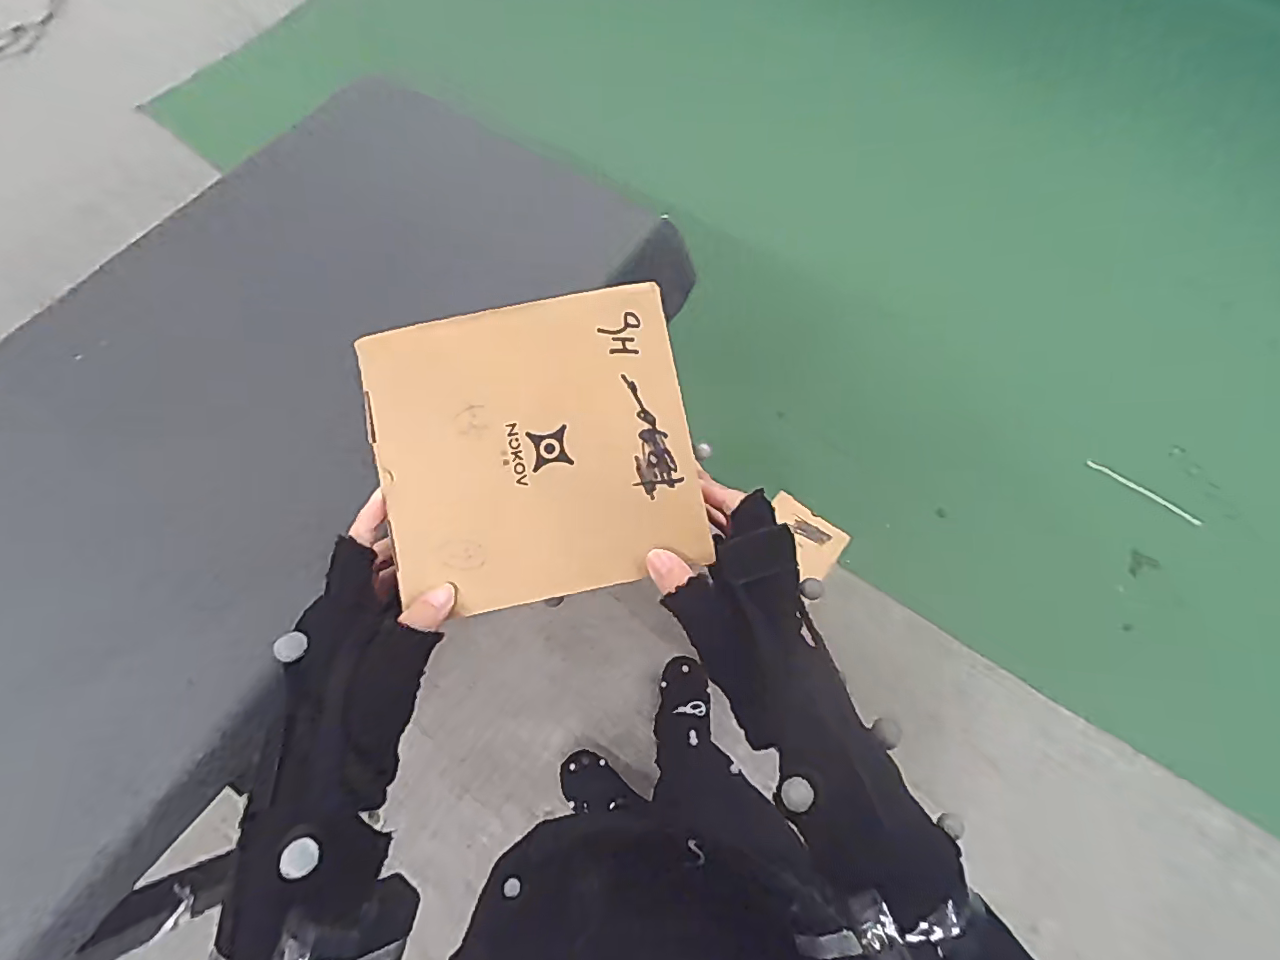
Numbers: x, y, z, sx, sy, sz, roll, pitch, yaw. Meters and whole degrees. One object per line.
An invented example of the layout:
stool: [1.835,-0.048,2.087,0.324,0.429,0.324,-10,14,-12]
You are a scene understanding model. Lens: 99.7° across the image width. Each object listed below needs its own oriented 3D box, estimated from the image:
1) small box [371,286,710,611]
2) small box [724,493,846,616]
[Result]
small box: [-0.057,-0.013,0.384,0.179,0.176,0.168,-10,87,-1]
small box: [0.294,0.163,1.138,0.168,0.176,0.179,37,73,13]
